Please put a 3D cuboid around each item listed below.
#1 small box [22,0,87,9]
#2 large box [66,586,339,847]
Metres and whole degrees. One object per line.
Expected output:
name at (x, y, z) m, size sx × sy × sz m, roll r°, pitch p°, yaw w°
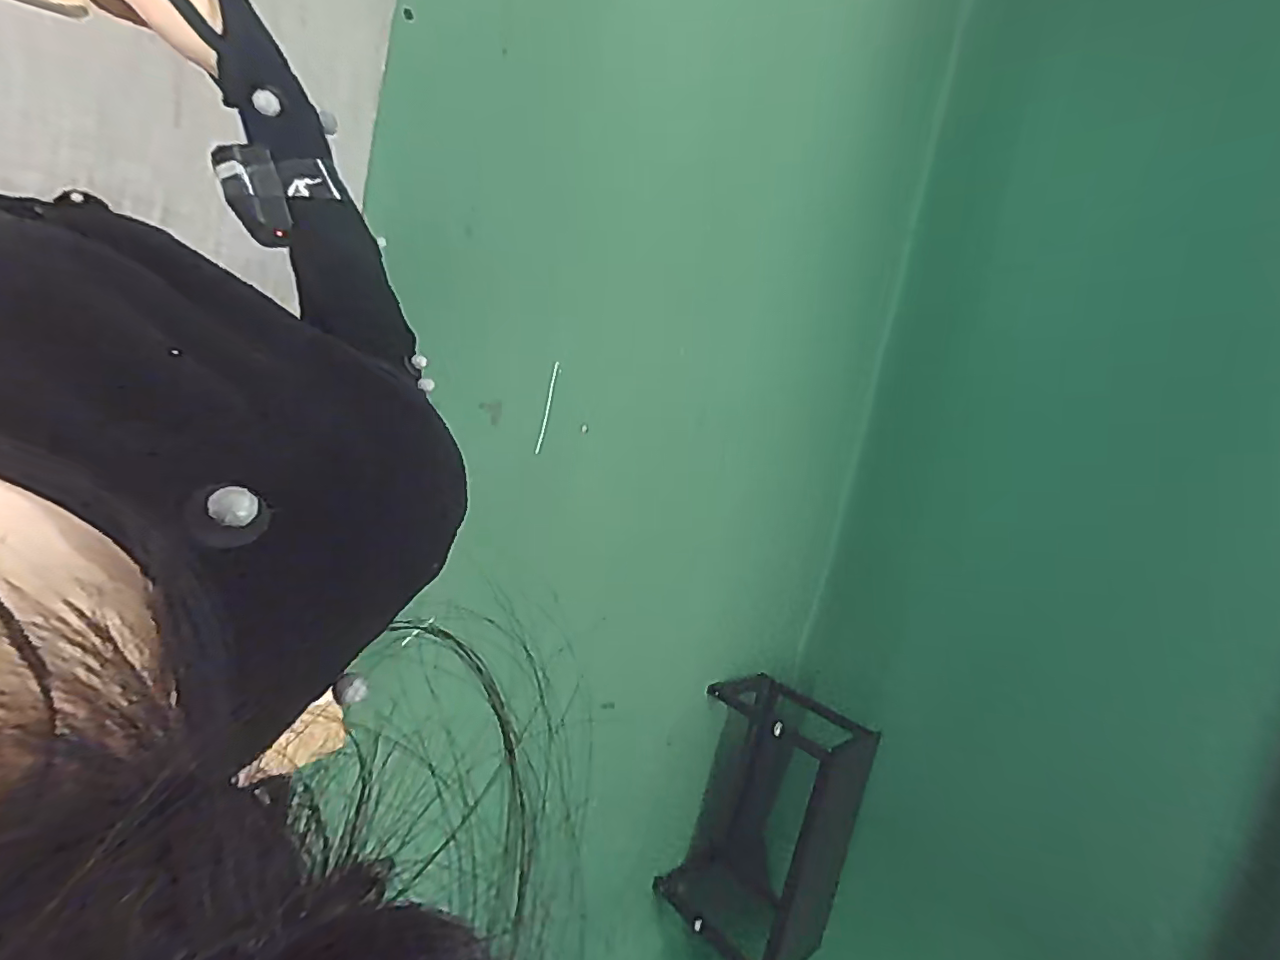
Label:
small box at (-0.439, -0.403, 0.296) m, size 0.168 × 0.176 × 0.179 m, roll -10°, pitch 126°, yaw -45°
large box at (-0.951, 0.477, 1.200) m, size 0.408 × 0.320 × 0.320 m, roll -12°, pitch 111°, yaw -44°
